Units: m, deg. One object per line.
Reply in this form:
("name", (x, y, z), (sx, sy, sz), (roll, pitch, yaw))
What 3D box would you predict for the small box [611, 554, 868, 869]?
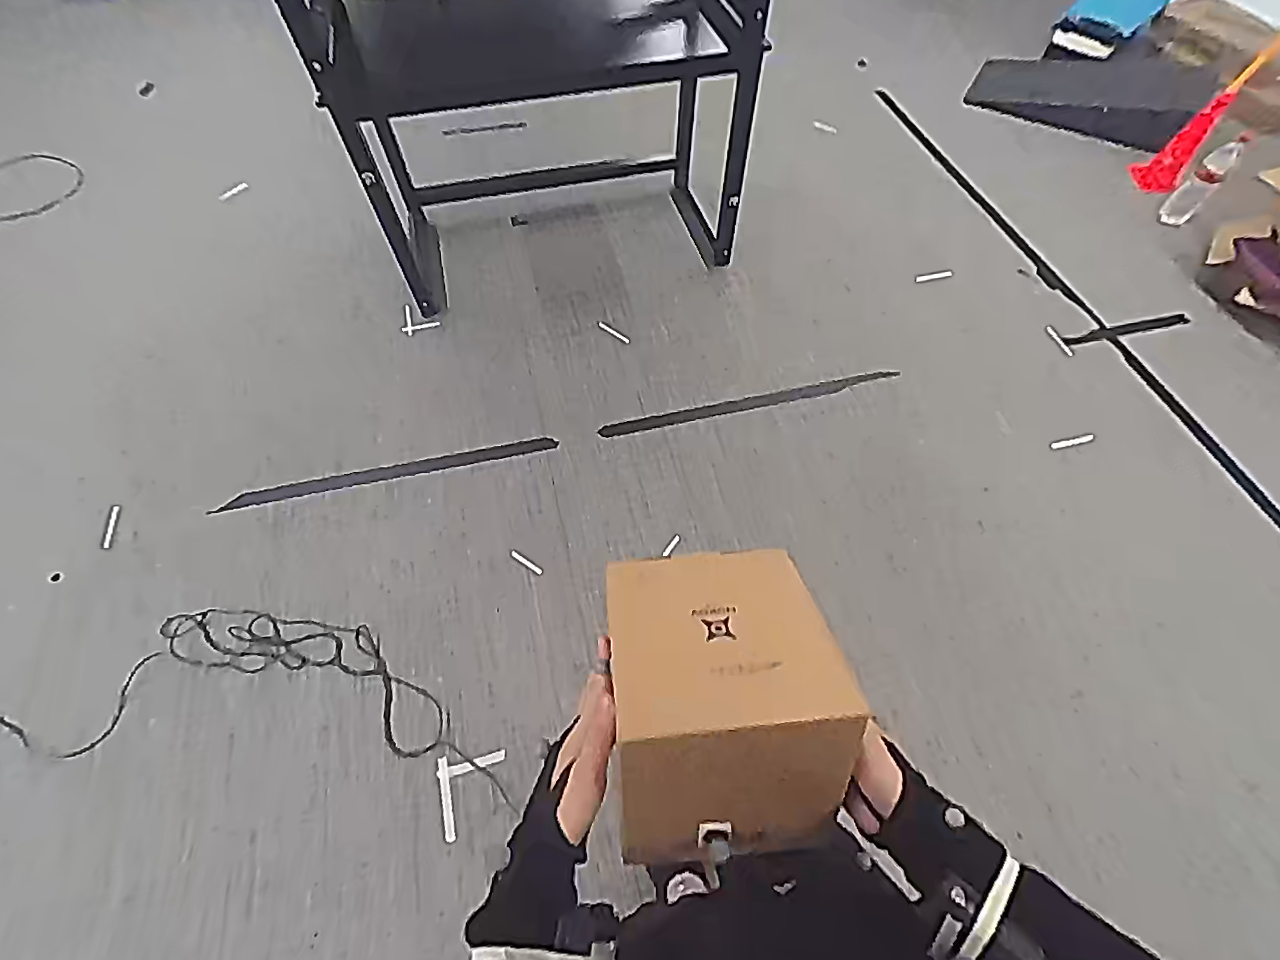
("small box", (0.061, 0.186, 0.458), (0.168, 0.176, 0.179), (-4, 31, -5))
